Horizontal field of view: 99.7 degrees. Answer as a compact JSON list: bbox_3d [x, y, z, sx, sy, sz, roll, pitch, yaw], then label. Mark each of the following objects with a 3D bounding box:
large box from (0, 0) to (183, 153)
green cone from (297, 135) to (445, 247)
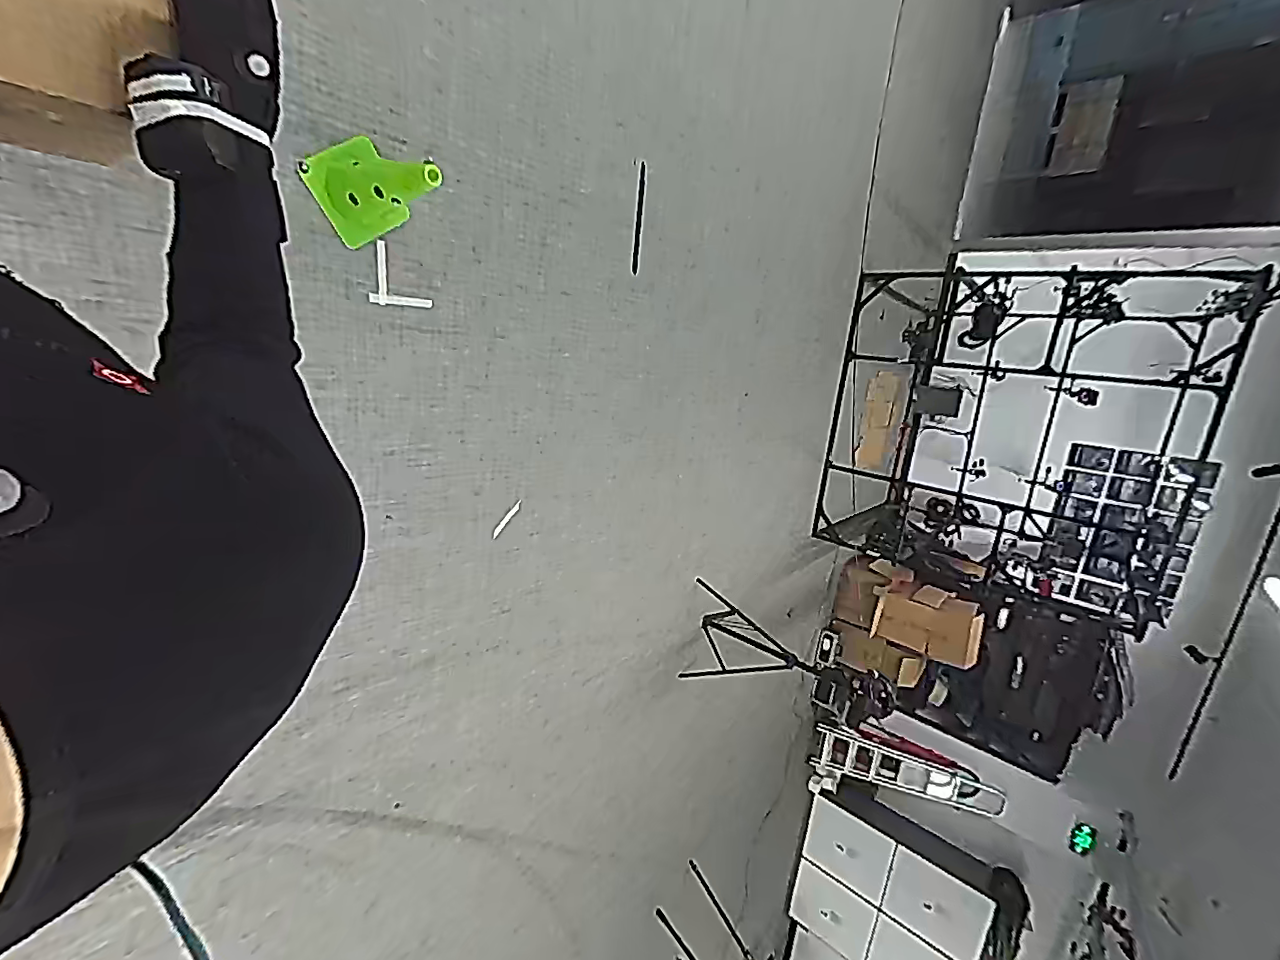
[{"bbox_3d":[-0.564,-0.425,0.298,0.408,0.320,0.320,-12,115,-51],"label":"large box"},{"bbox_3d":[-0.559,-0.663,1.215,0.202,0.368,0.200,-51,138,-29],"label":"green cone"}]
